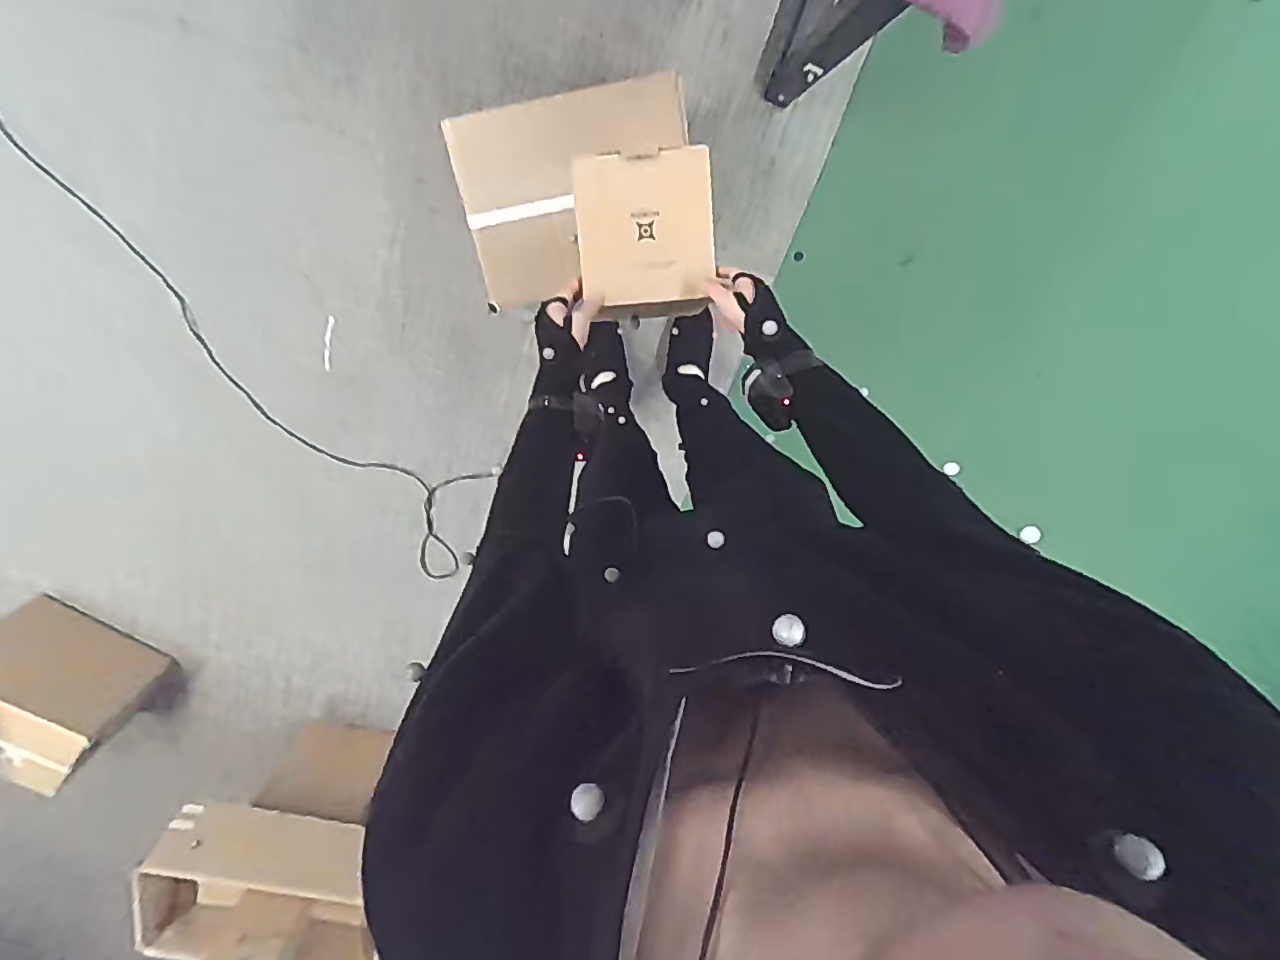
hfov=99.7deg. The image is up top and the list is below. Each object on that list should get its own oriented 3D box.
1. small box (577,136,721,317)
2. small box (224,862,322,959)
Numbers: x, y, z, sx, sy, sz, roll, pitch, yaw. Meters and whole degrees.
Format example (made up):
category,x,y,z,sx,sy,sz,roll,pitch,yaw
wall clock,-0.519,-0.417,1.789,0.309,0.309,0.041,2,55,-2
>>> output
category,x,y,z,sx,sy,sz,roll,pitch,yaw
small box,0.009,-0.320,0.715,0.168,0.176,0.179,-4,100,-1
small box,-0.994,1.189,1.471,0.168,0.176,0.179,16,112,-9
